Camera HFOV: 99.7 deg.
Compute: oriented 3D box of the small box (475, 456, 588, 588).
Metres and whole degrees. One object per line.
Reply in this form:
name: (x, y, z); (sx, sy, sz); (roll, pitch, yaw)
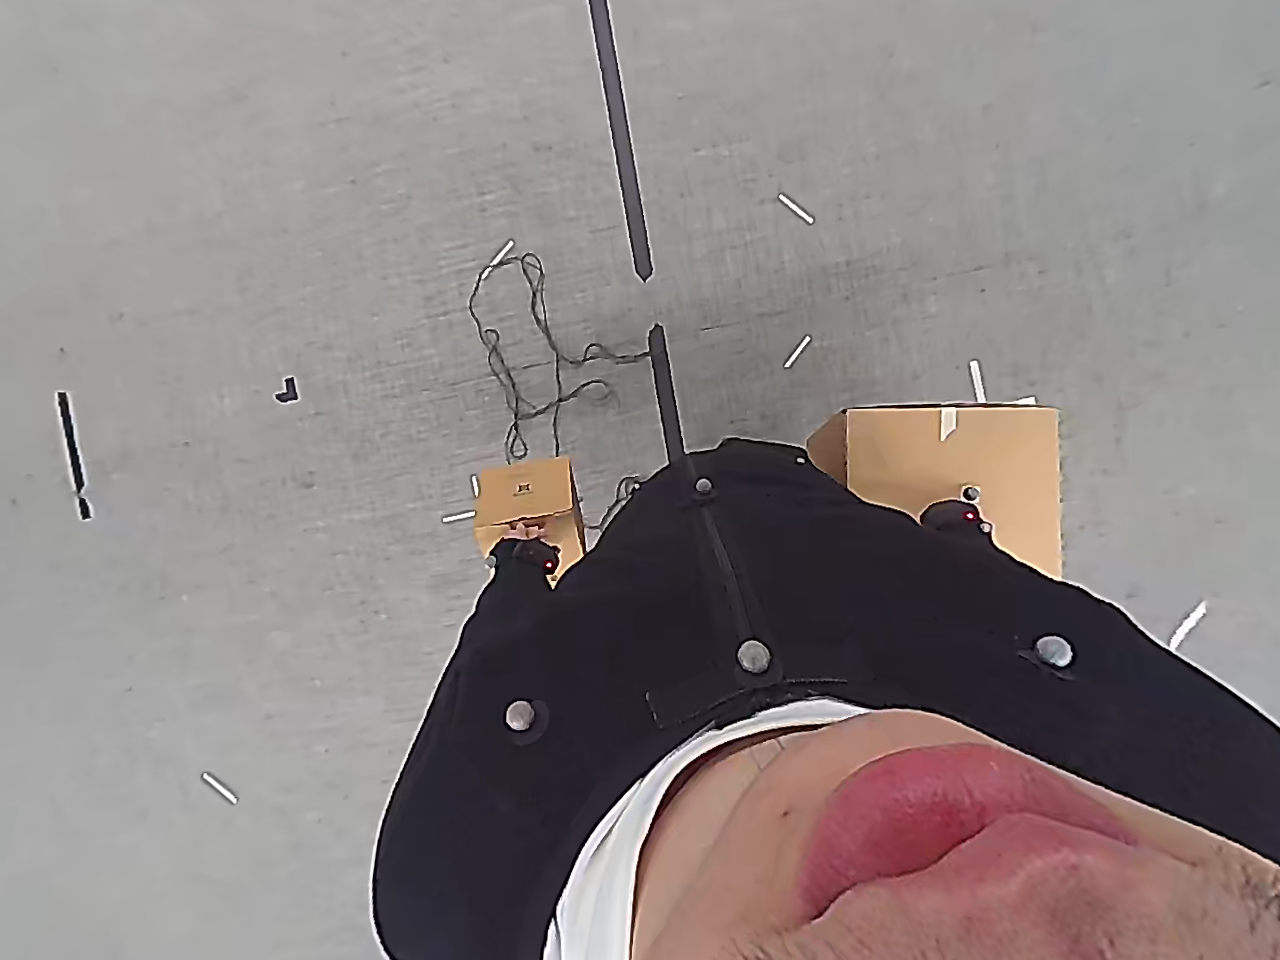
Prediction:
small box: (-0.193, 0.082, 0.998); (0.168, 0.179, 0.176); (-10, 124, -4)
